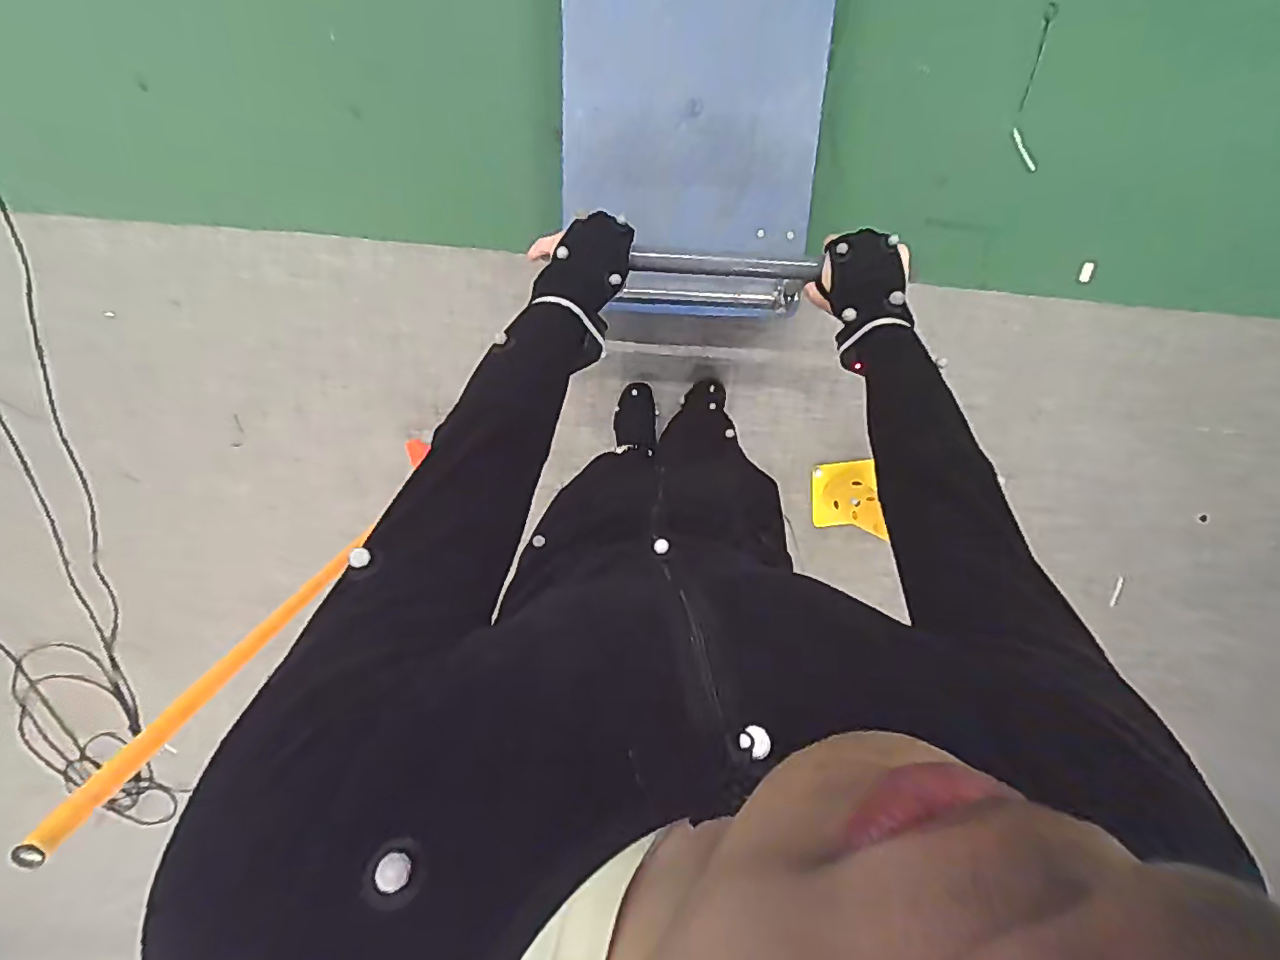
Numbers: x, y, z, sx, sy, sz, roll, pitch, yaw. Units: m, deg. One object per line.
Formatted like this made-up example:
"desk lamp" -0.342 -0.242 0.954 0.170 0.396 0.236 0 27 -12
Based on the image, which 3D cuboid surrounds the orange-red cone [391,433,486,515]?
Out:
"orange-red cone" -0.558 0.016 1.407 0.199 0.360 0.198 -10 106 3
